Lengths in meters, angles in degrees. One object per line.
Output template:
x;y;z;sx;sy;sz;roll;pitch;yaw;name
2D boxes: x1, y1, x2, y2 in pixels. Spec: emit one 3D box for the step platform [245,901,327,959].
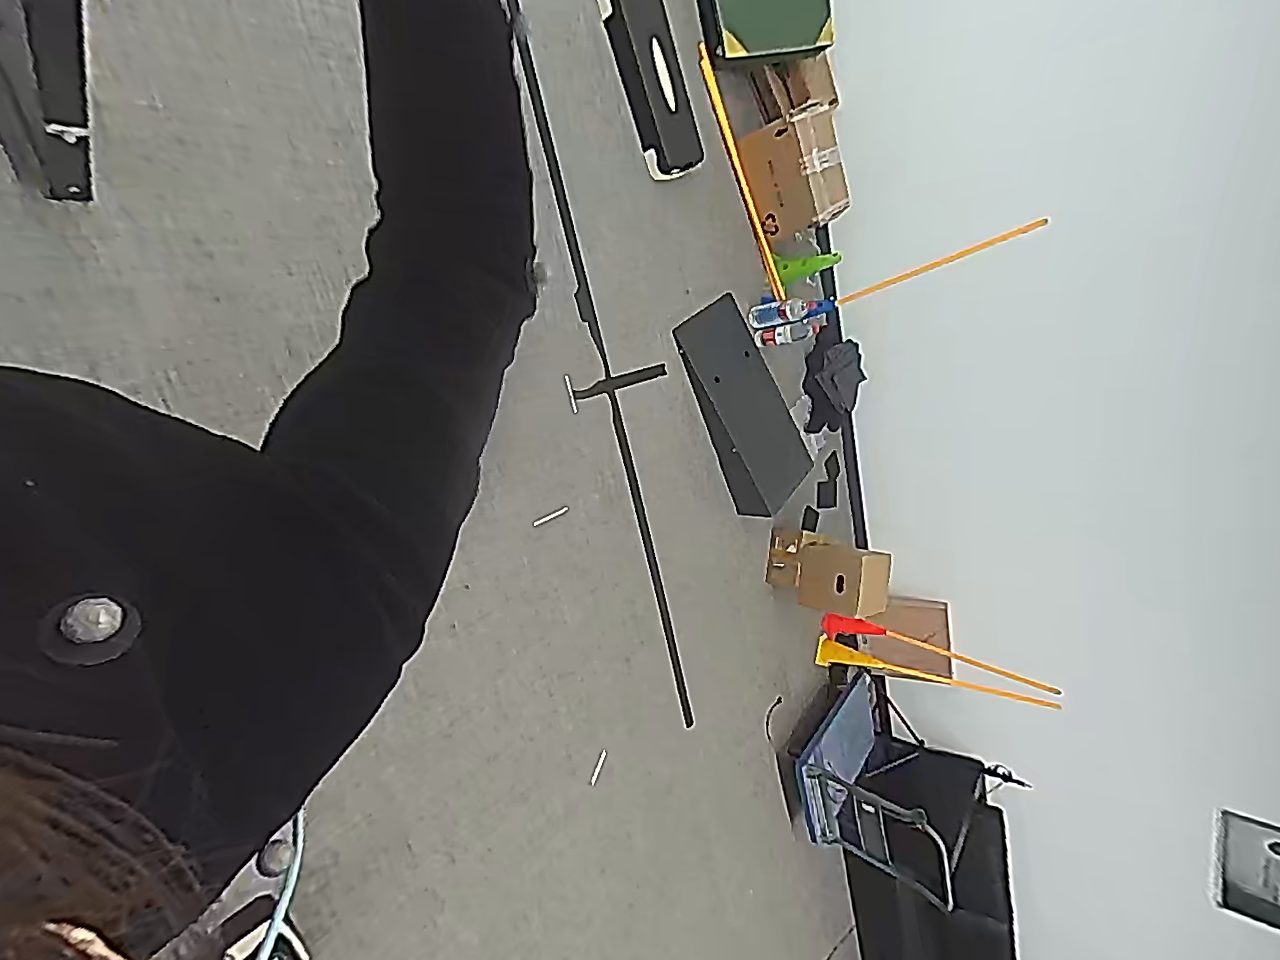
-0.994;1.233;1.072;0.684;0.204;0.286;-19;104;-44;step platform
